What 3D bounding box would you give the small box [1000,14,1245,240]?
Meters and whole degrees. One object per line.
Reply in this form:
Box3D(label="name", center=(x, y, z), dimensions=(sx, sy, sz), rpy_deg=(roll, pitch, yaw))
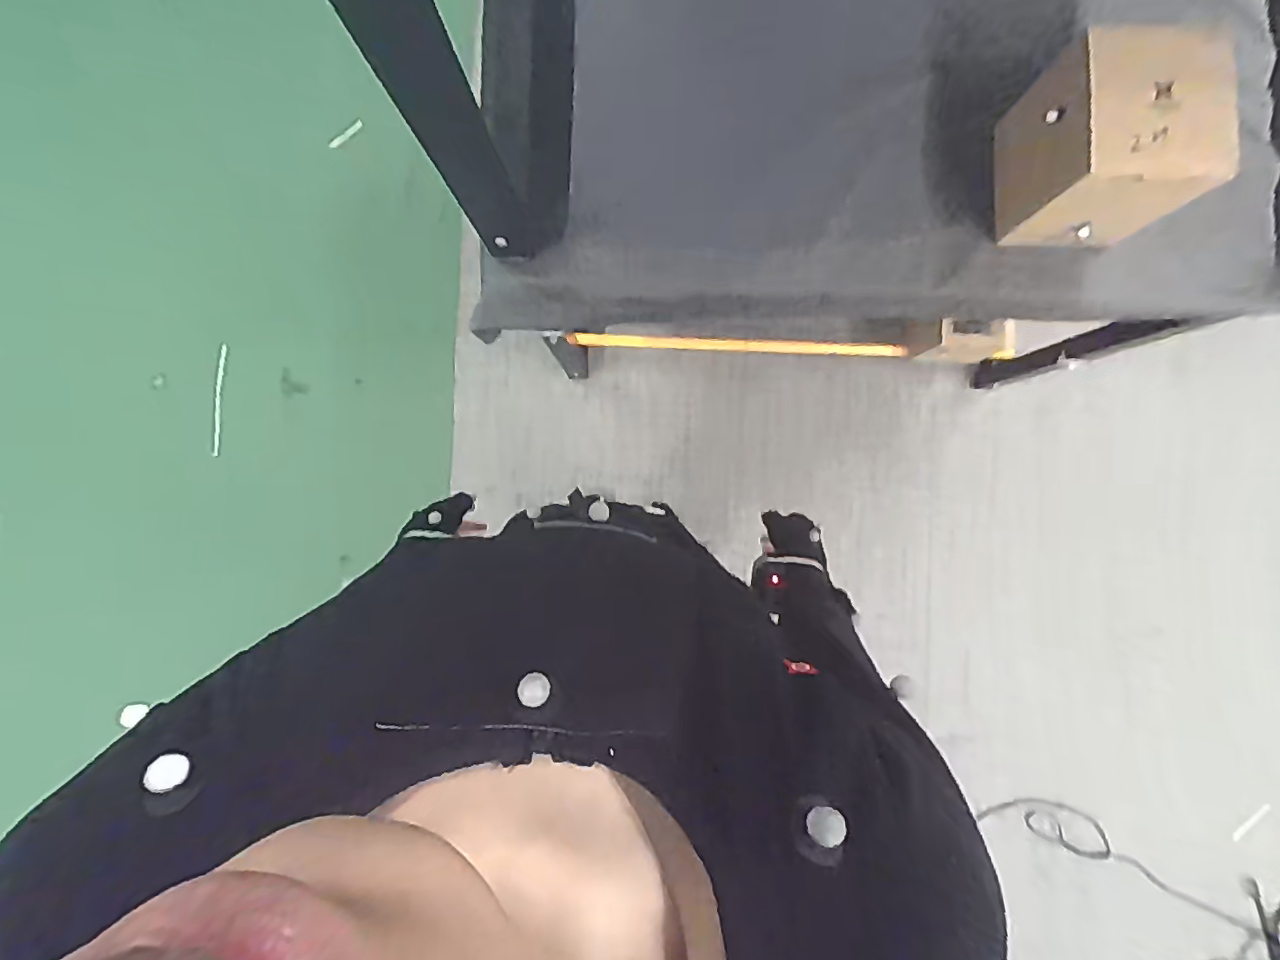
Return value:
Box3D(label="small box", center=(0.588, -0.431, 0.682), dimensions=(0.168, 0.176, 0.179), rpy_deg=(1, 87, 1))
